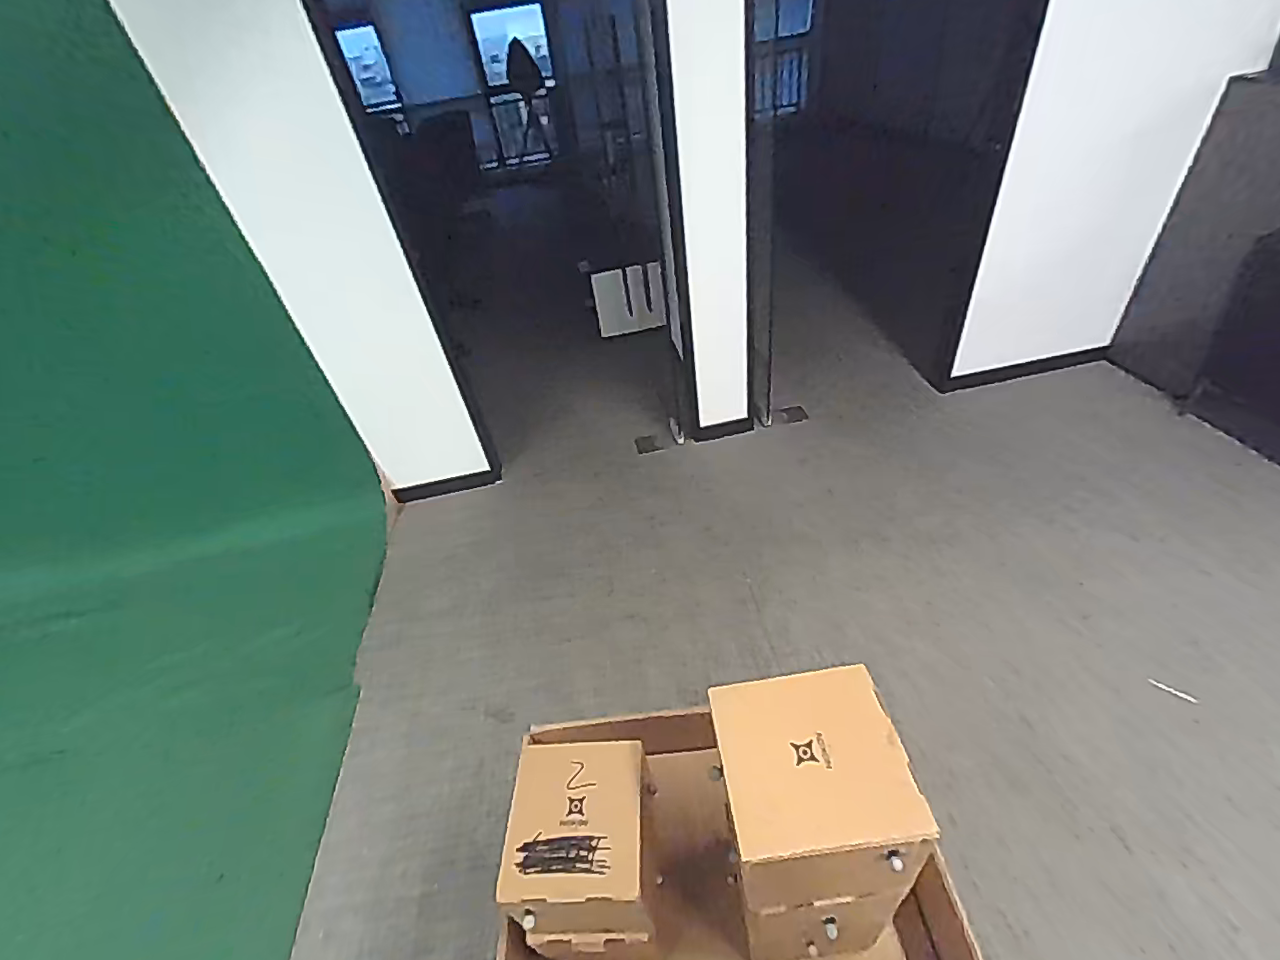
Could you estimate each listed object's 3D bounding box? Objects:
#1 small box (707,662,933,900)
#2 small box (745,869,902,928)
[{"bbox_3d":[0.177,0.325,0.583,0.179,0.176,0.168,-9,40,1],"label":"small box"},{"bbox_3d":[0.205,0.446,0.691,0.168,0.176,0.179,-10,41,1],"label":"small box"}]
